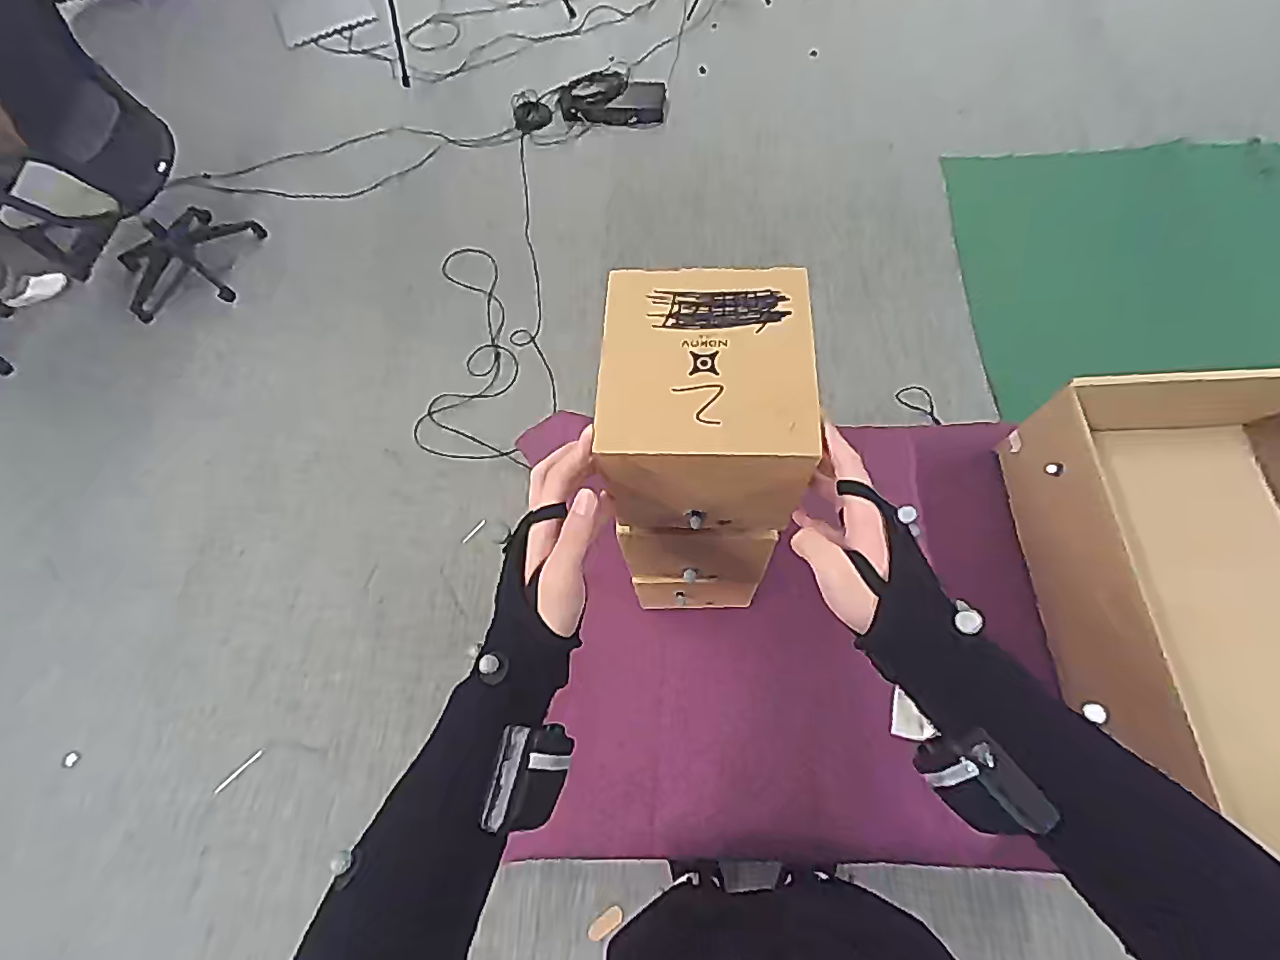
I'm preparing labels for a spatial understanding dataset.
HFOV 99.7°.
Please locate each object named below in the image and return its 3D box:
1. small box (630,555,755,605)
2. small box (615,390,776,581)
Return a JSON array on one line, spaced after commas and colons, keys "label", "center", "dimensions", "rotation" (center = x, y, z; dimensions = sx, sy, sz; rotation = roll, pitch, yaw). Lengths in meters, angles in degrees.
[{"label": "small box", "center": [0.078, 0.085, 0.799], "dimensions": [0.168, 0.176, 0.179], "rotation": [-2, 64, 5]}, {"label": "small box", "center": [0.069, 0.011, 0.652], "dimensions": [0.168, 0.176, 0.179], "rotation": [2, 65, 7]}]
